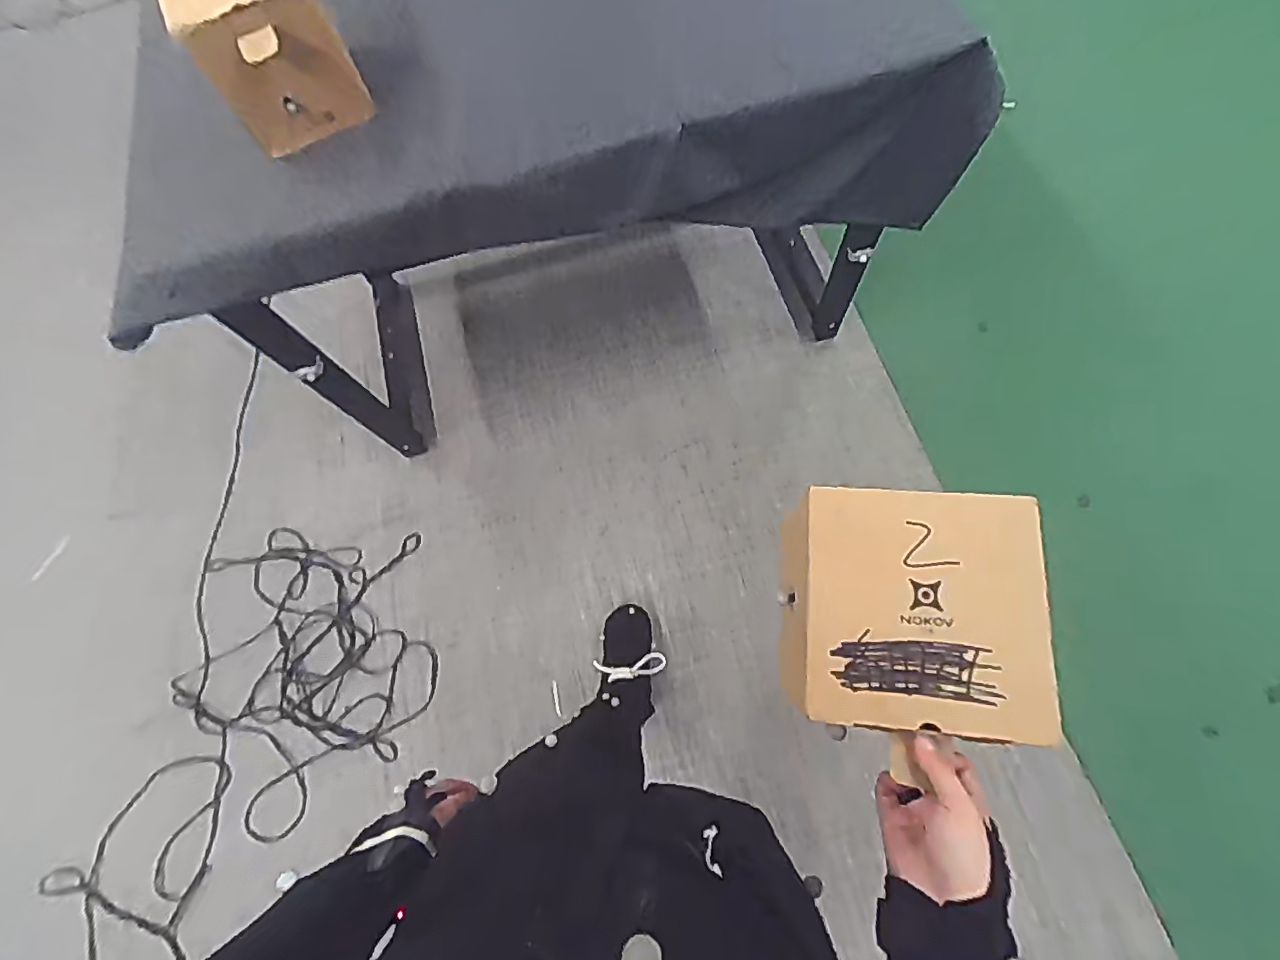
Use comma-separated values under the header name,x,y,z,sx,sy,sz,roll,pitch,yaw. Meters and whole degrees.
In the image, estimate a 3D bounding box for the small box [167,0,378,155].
name,x,y,z,sx,sy,sz,roll,pitch,yaw
small box,-0.492,-0.591,0.733,0.168,0.176,0.179,-27,72,-5
